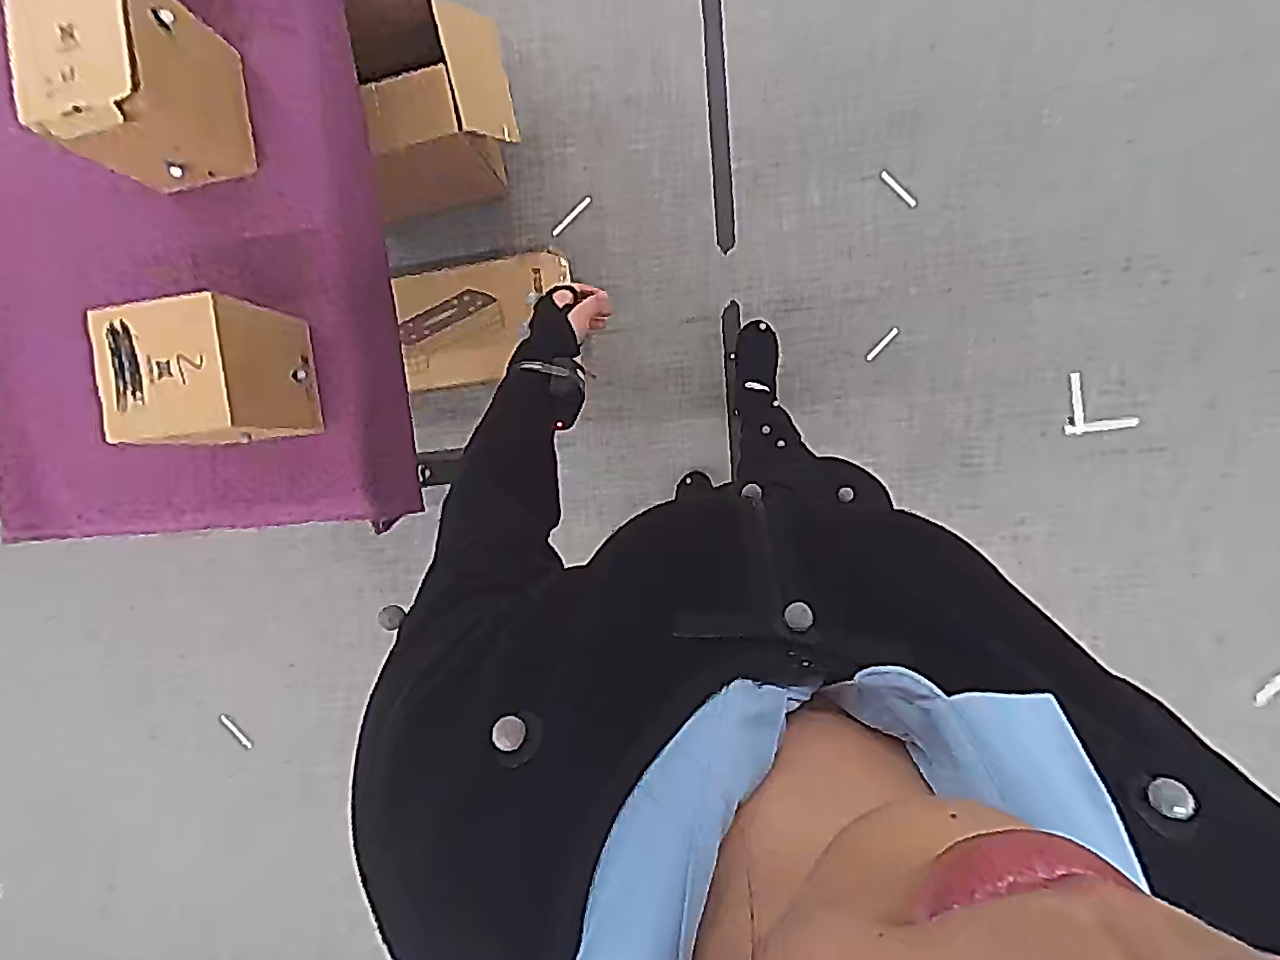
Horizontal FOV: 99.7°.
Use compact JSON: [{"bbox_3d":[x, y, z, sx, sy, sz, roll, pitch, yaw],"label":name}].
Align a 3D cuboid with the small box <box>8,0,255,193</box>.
[{"bbox_3d":[-0.662,-0.522,0.723,0.168,0.176,0.179,-7,93,9],"label":"small box"}]
